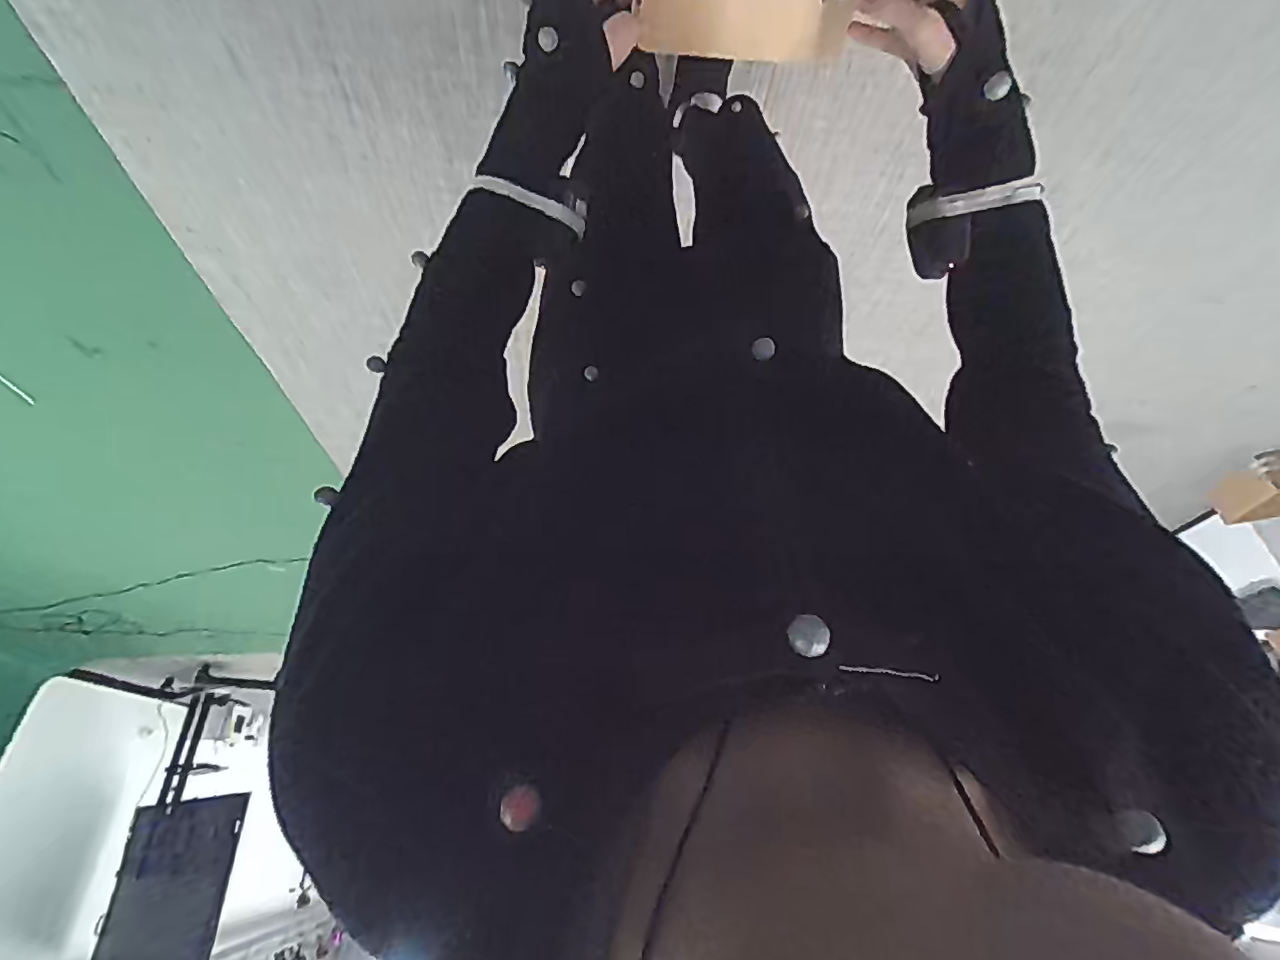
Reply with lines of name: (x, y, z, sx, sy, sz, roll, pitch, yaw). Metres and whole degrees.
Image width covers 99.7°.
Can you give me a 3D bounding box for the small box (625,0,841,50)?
small box: (0.080, -0.485, 0.432, 0.179, 0.176, 0.168, 1, 150, -5)
